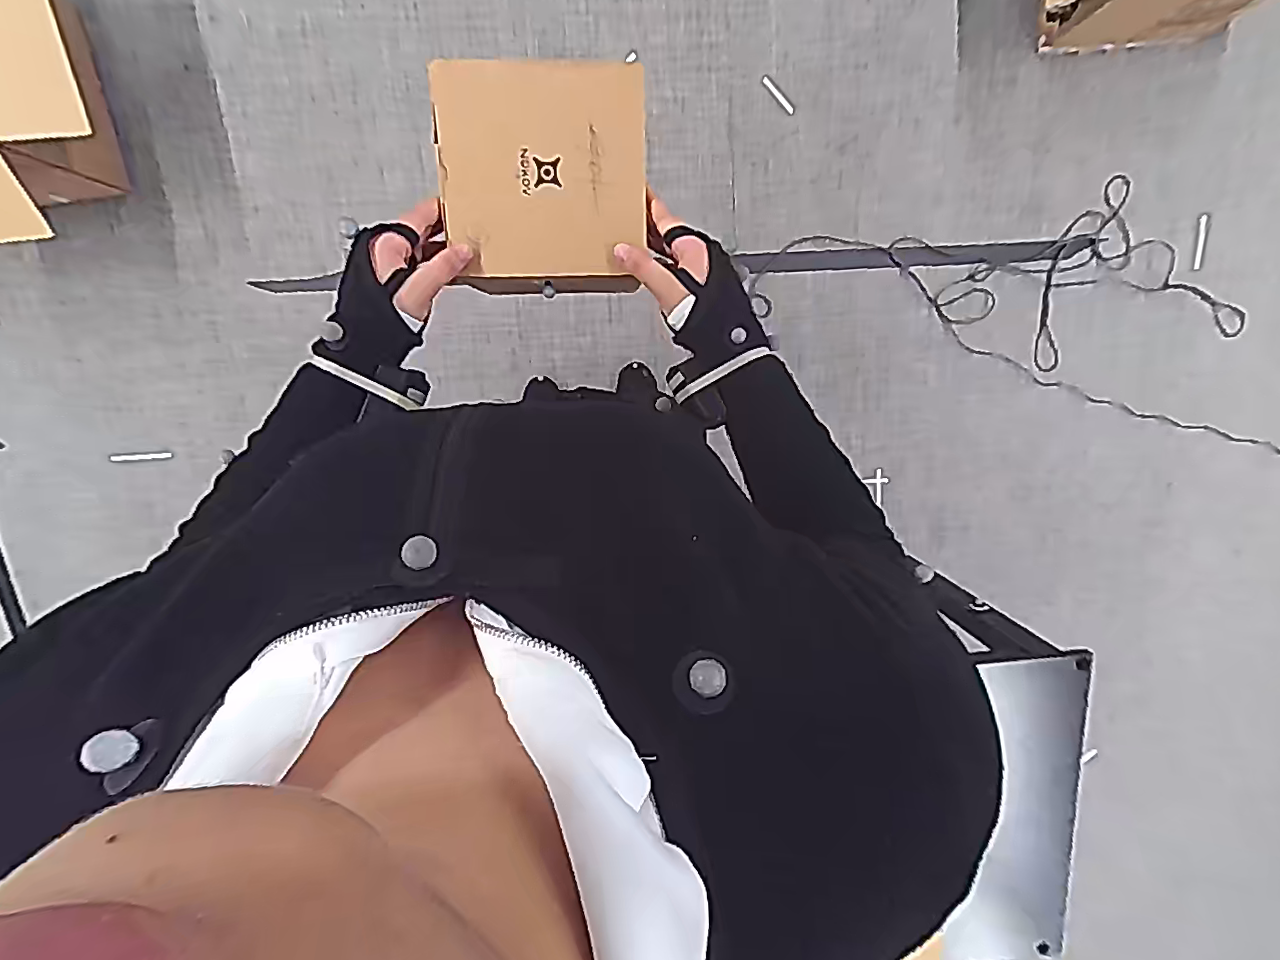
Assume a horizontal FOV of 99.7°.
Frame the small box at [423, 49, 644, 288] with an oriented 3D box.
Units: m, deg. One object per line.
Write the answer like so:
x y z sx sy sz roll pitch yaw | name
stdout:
-0.090 -0.284 0.530 0.179 0.176 0.168 -3 105 -4 | small box
